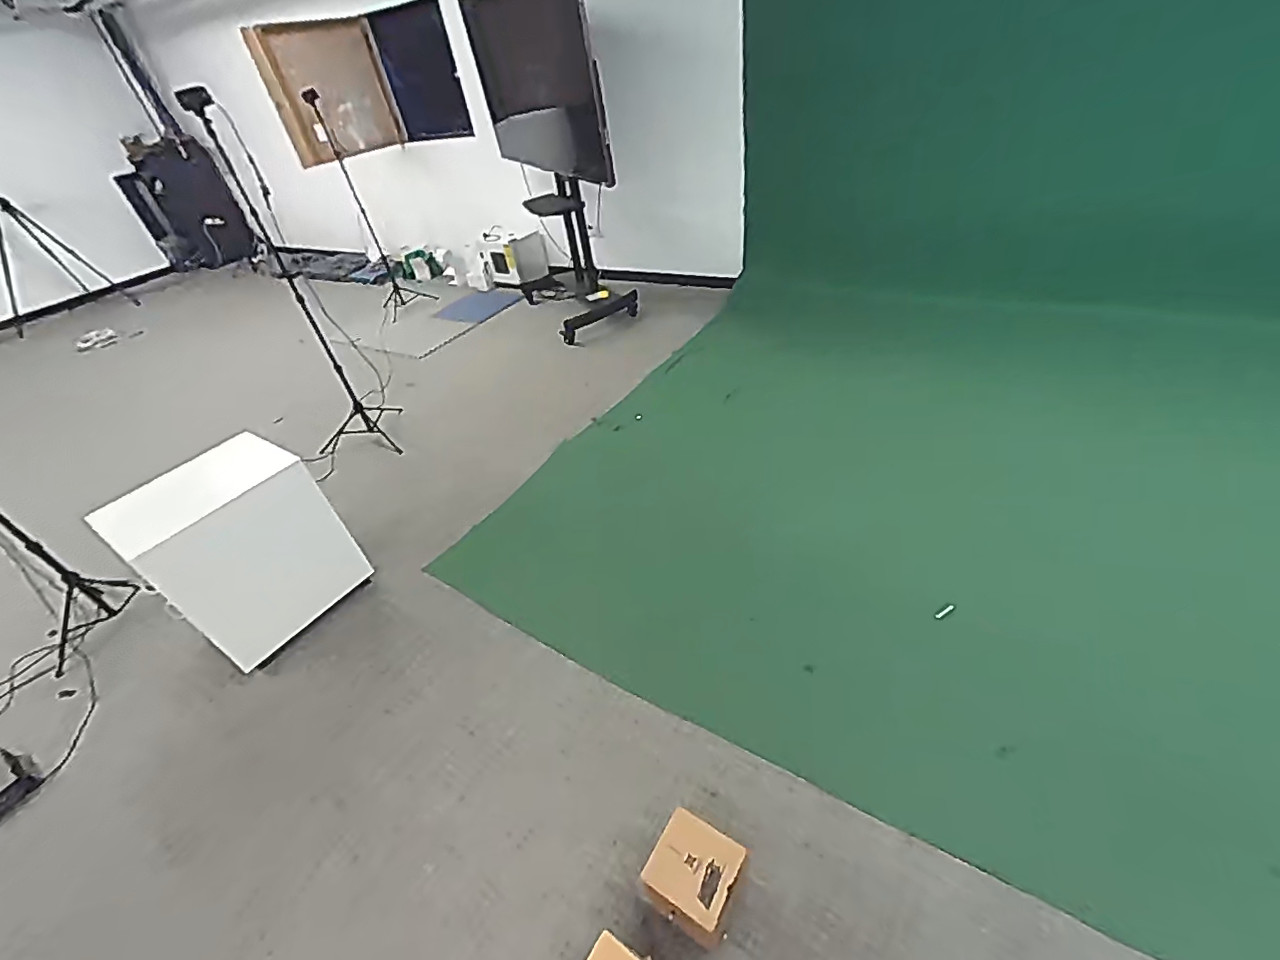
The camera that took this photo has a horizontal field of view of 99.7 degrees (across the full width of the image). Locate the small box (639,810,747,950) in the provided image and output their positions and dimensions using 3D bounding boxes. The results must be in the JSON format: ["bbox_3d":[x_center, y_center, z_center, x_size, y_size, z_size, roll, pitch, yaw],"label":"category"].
[{"bbox_3d":[0.122,0.875,1.180,0.179,0.176,0.168,17,45,30],"label":"small box"}]
